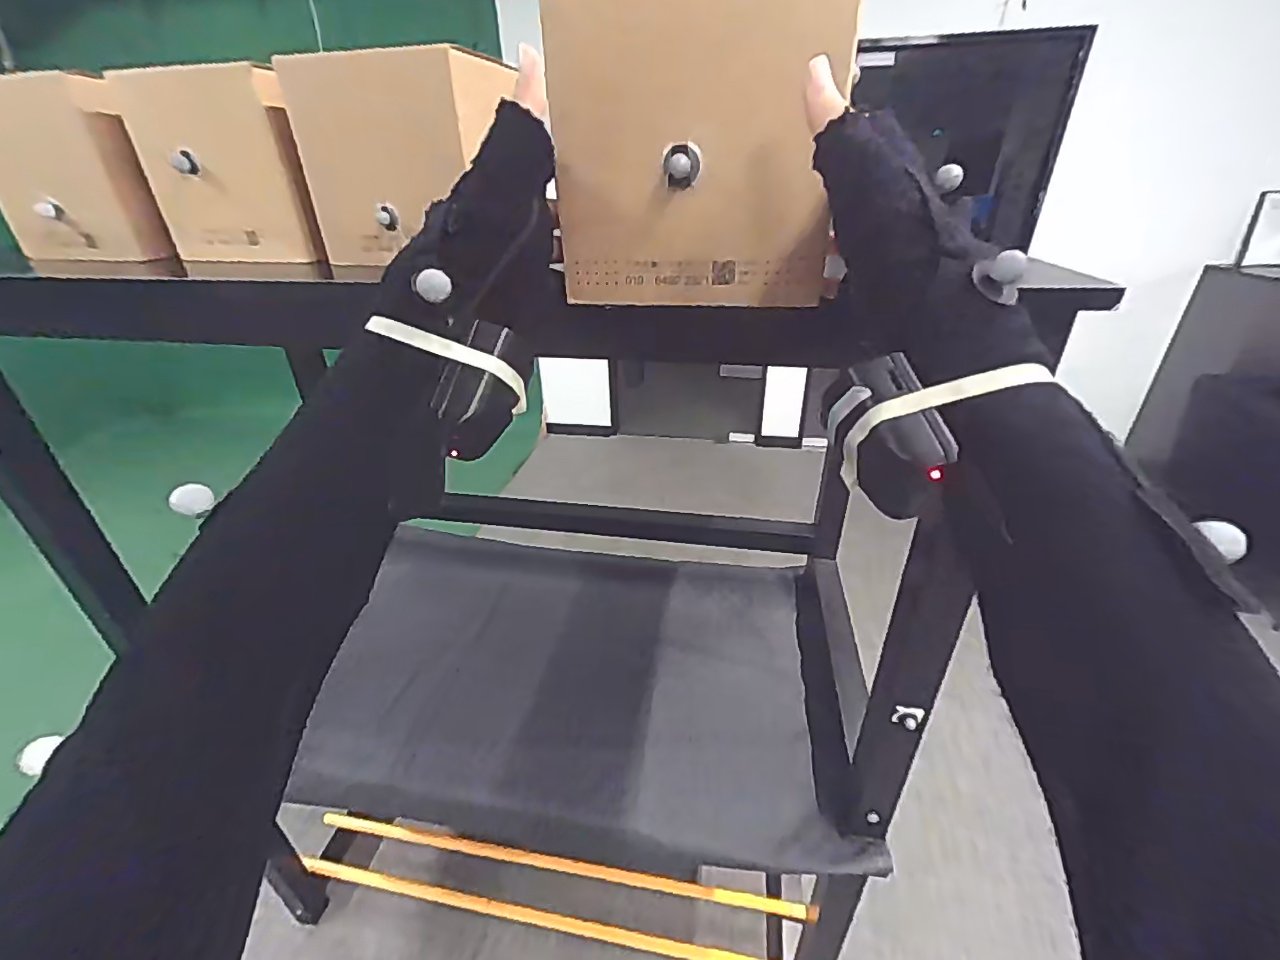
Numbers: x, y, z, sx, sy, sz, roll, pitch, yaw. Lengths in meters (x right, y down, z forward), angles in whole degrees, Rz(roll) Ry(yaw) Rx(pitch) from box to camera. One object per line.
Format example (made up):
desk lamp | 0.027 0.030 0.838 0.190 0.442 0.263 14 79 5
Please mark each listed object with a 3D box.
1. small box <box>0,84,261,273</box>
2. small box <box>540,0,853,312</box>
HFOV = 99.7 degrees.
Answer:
small box | -0.589 -0.348 0.632 0.168 0.176 0.179 5 31 11
small box | 0.043 -0.222 0.383 0.168 0.176 0.179 4 32 8
